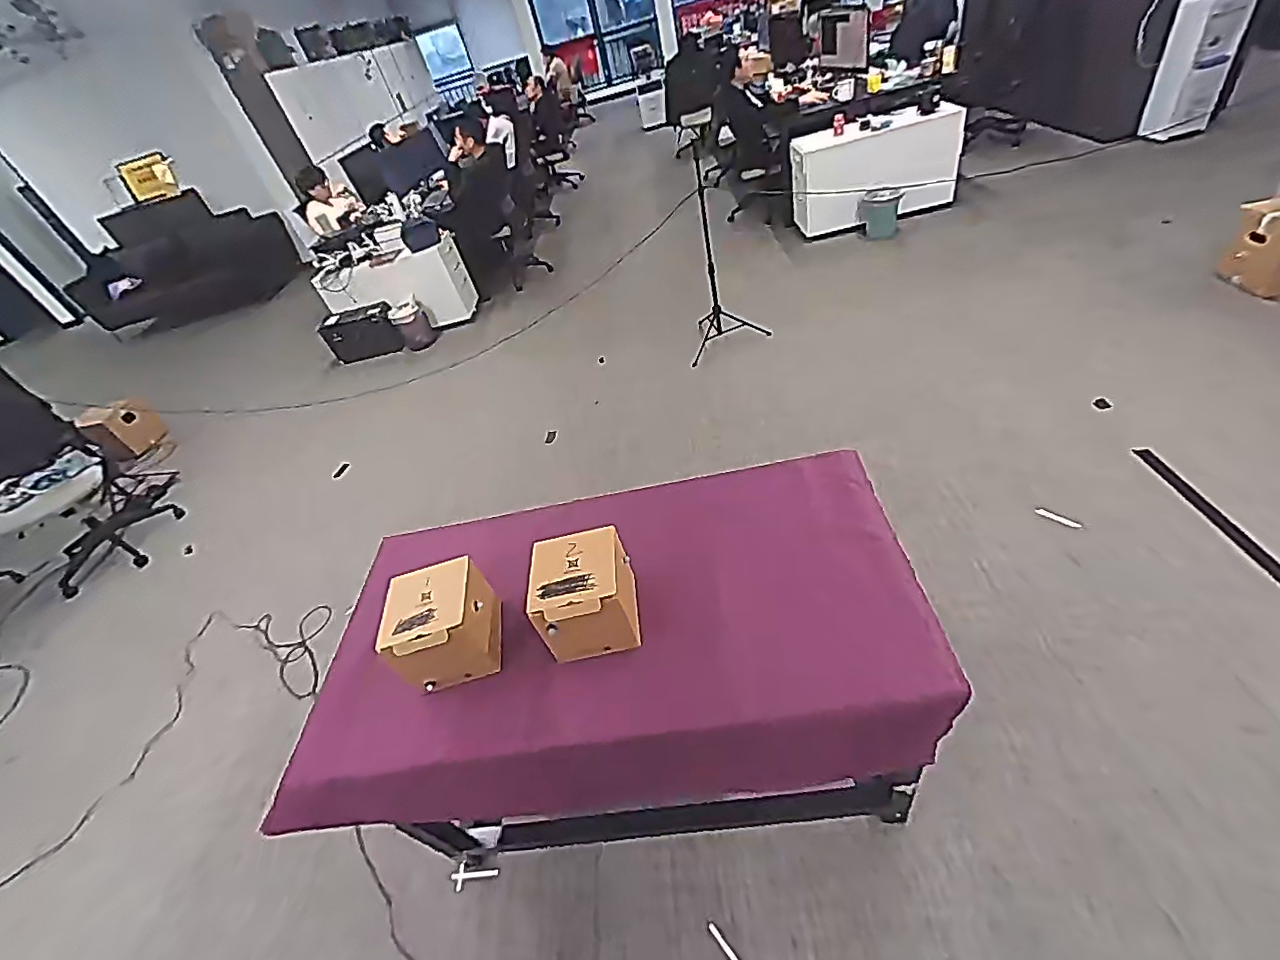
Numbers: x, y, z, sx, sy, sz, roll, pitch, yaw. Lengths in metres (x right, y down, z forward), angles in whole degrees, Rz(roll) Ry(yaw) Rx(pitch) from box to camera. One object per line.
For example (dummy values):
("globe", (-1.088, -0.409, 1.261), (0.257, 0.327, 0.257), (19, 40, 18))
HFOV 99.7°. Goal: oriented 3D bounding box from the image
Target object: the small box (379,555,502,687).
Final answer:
("small box", (-0.381, 0.285, 1.067), (0.168, 0.176, 0.179), (-17, 40, 0))
